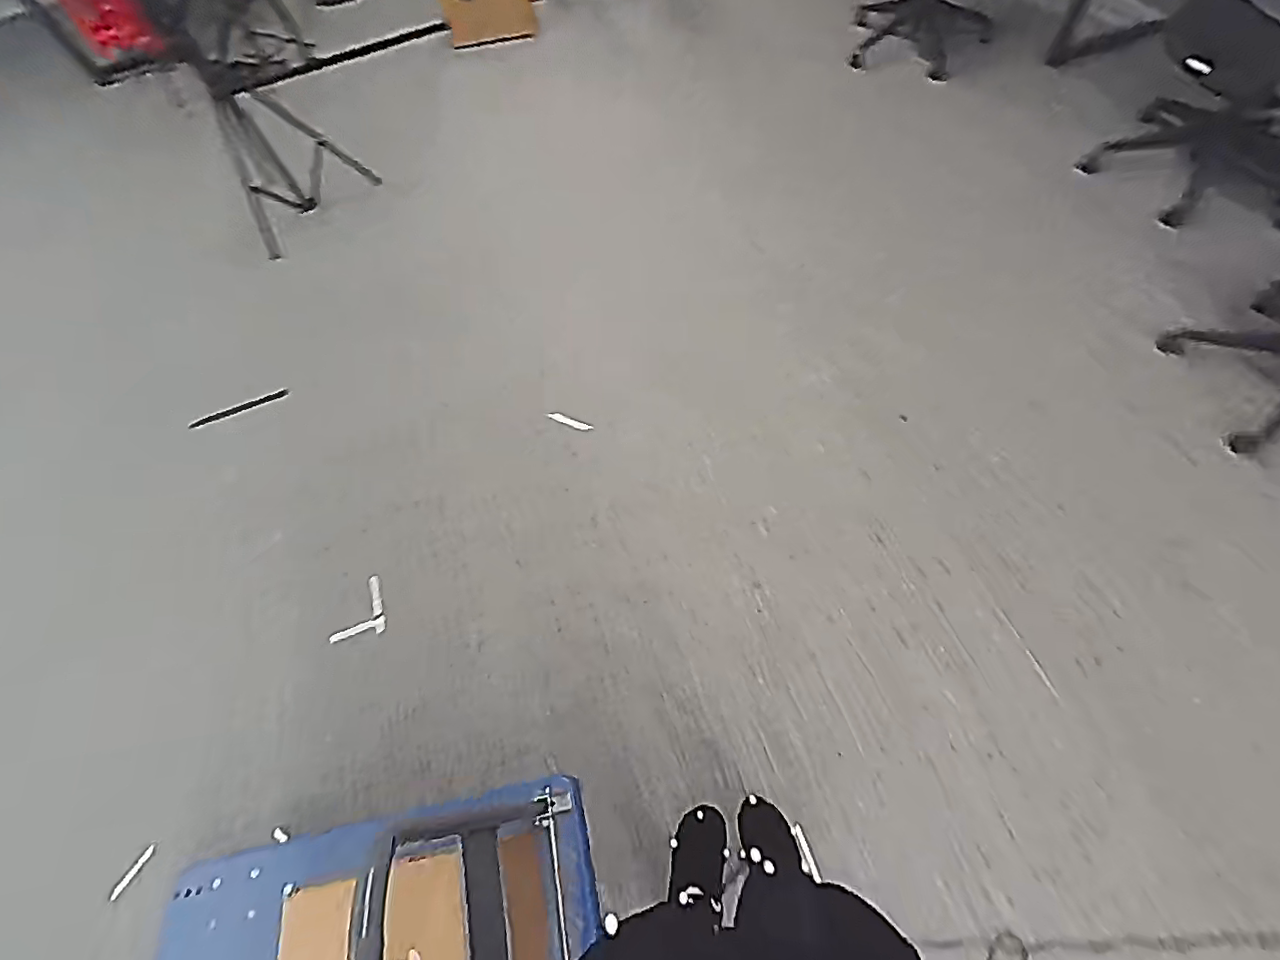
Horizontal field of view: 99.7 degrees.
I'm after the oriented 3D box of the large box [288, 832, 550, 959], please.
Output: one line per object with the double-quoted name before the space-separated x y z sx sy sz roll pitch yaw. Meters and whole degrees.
"large box" -0.335 0.848 0.878 0.320 0.320 0.408 -13 60 0
